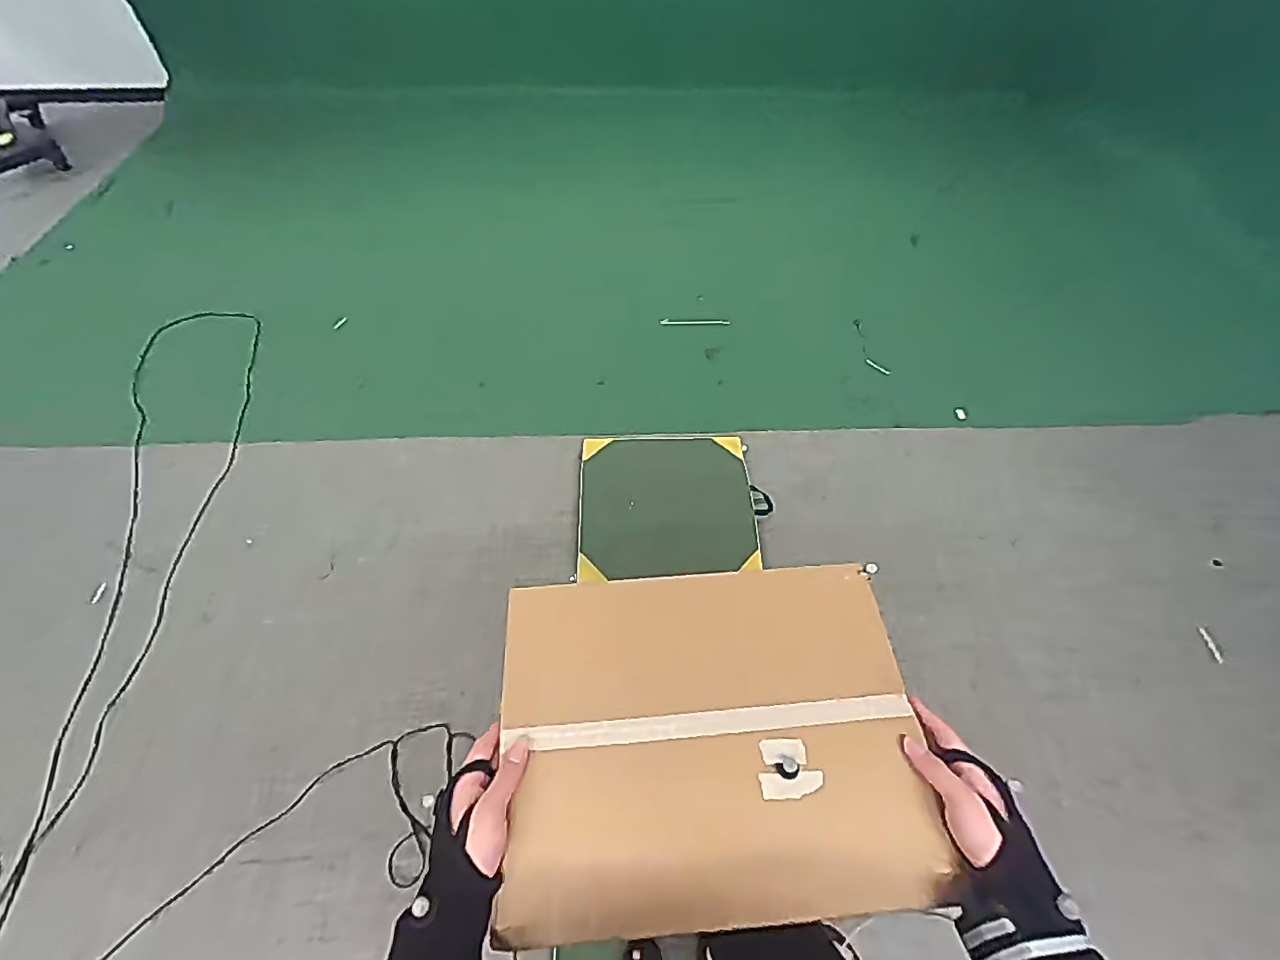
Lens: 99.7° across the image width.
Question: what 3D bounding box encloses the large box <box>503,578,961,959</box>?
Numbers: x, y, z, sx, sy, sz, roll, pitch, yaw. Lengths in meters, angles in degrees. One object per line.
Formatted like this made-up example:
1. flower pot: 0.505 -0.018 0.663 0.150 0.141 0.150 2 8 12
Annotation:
1. large box: 0.067 0.340 0.660 0.408 0.320 0.320 -4 56 -3
